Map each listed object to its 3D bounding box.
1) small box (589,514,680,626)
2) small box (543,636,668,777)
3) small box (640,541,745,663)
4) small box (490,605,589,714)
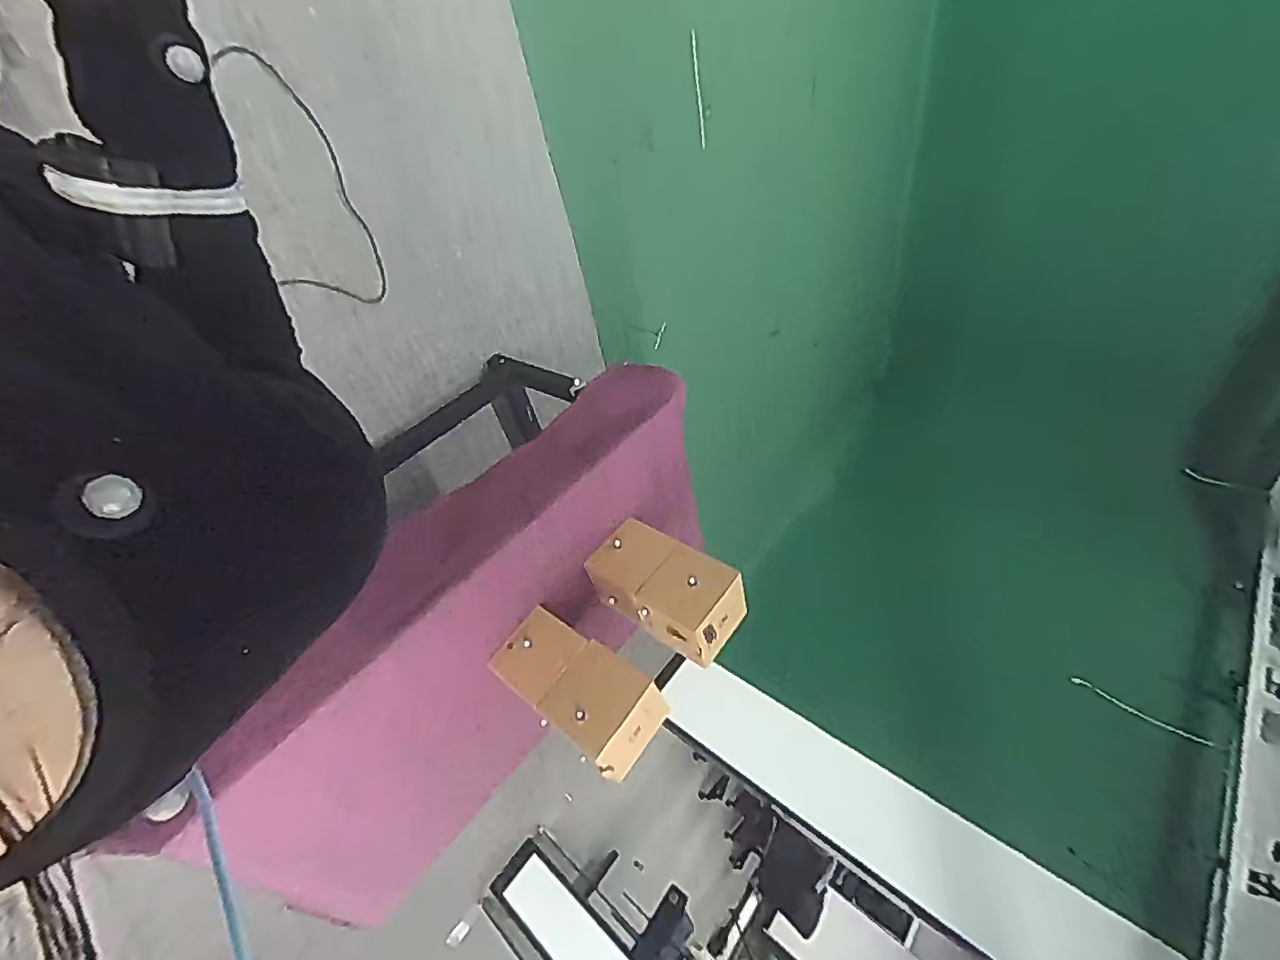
[{"bbox_3d":[-0.005,0.217,1.332,0.179,0.176,0.168,-45,140,-26],"label":"small box"},{"bbox_3d":[-0.074,0.457,1.104,0.179,0.176,0.168,-48,142,-24],"label":"small box"},{"bbox_3d":[0.116,0.273,1.236,0.179,0.176,0.168,-46,139,-27],"label":"small box"},{"bbox_3d":[-0.196,0.407,1.201,0.168,0.176,0.179,-49,140,-22],"label":"small box"}]
